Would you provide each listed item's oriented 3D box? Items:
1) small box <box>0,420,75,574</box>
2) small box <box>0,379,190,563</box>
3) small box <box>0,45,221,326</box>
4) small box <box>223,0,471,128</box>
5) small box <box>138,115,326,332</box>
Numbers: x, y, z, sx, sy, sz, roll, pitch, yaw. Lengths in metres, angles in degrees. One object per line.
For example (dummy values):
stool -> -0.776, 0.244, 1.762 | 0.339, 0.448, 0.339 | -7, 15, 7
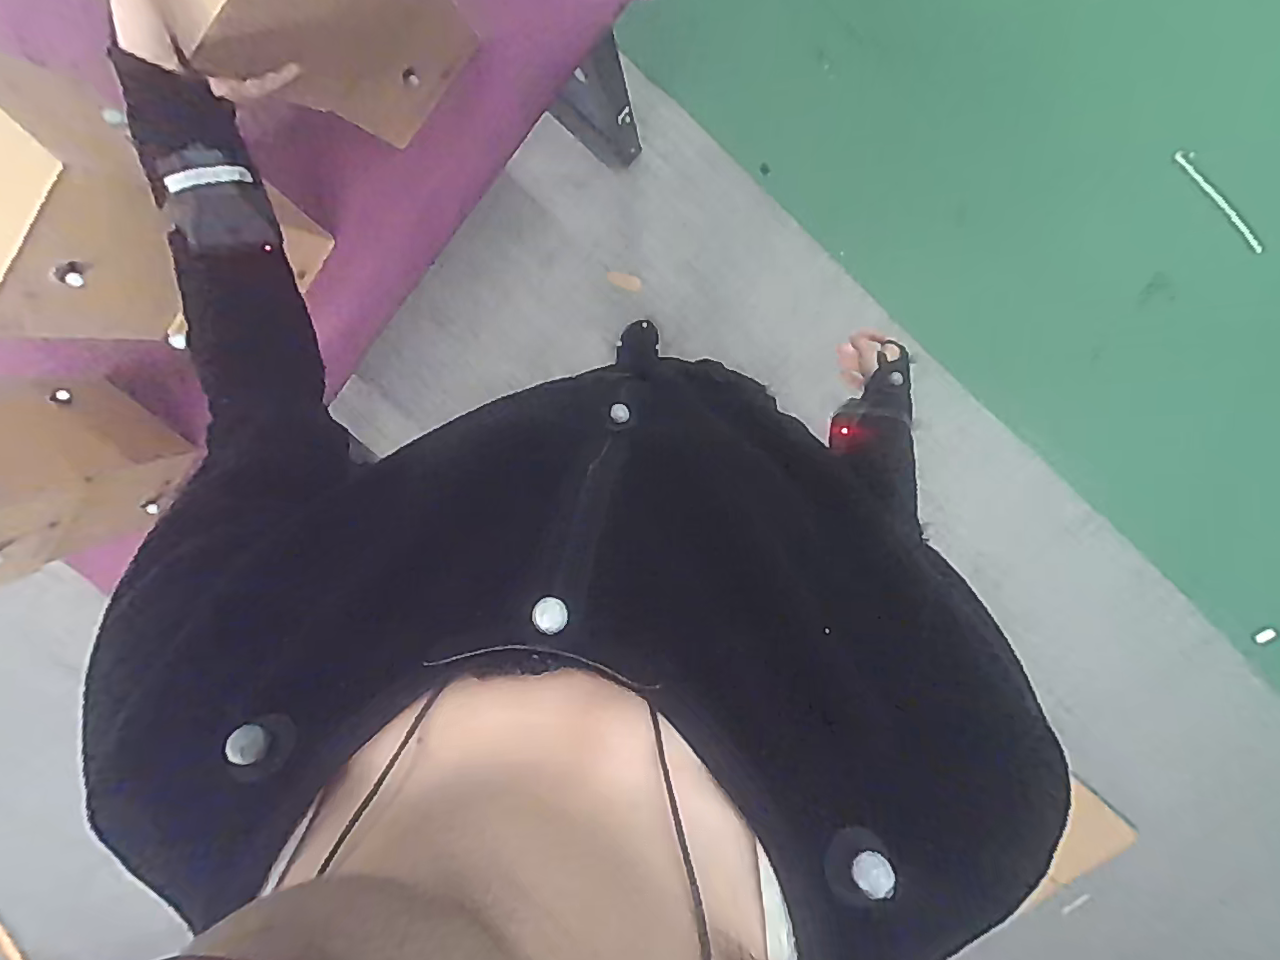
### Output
small box -> -0.793, 0.023, 0.583 | 0.179, 0.176, 0.168 | 42, 104, -7
small box -> -0.789, -0.024, 0.740 | 0.179, 0.176, 0.168 | 40, 104, -7
small box -> -0.542, -0.257, 0.491 | 0.168, 0.176, 0.179 | 43, 103, -6
small box -> -0.313, -0.513, 0.571 | 0.179, 0.176, 0.168 | 44, 105, -10
small box -> -0.529, -0.299, 0.650 | 0.179, 0.176, 0.168 | 40, 104, -5
